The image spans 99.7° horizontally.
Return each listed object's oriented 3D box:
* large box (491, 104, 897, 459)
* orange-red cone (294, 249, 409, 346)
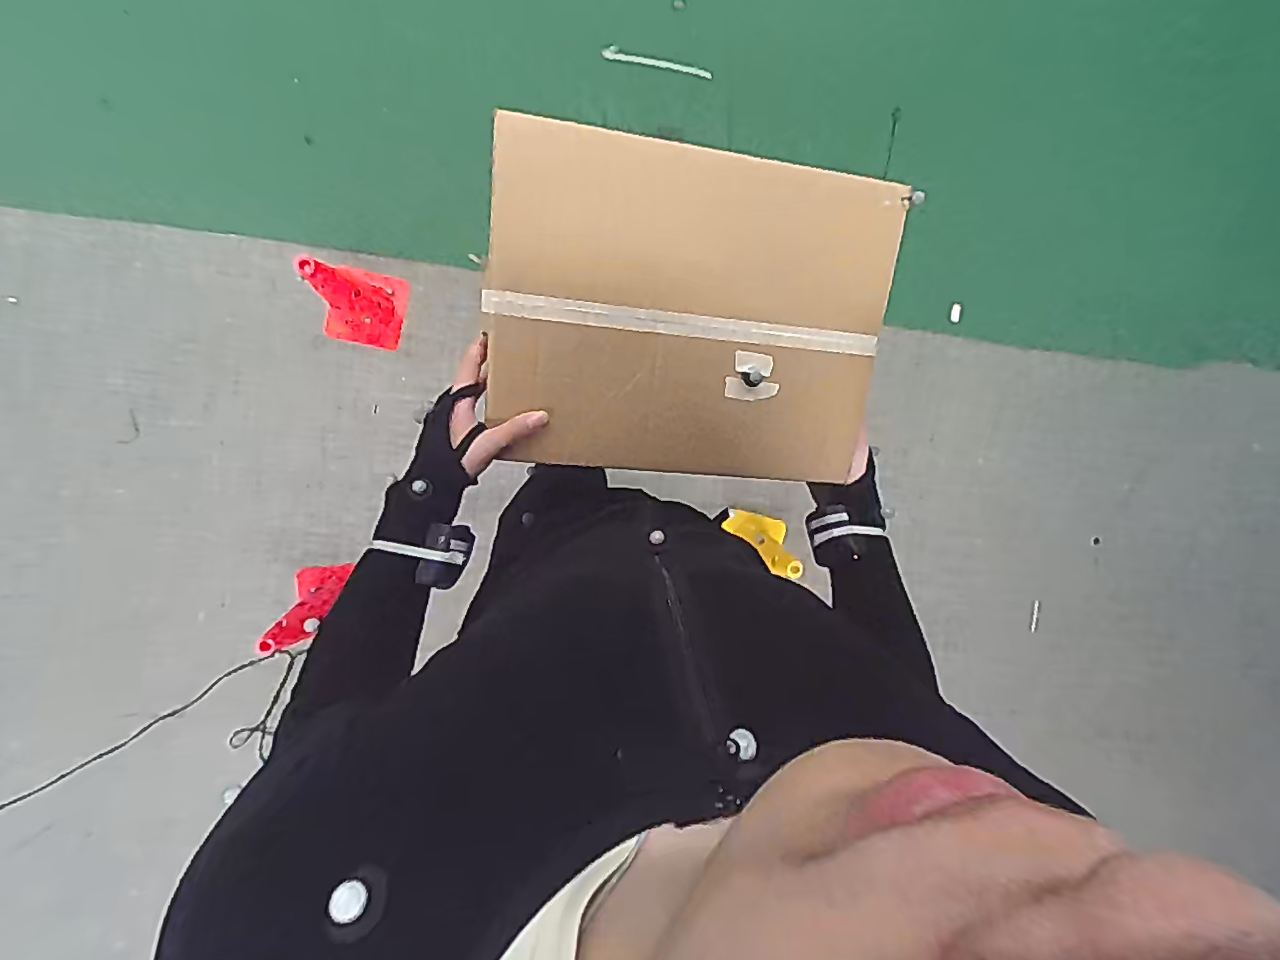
[{"bbox_3d":[0.027,-0.220,0.690,0.408,0.320,0.320,3,107,-11],"label":"large box"},{"bbox_3d":[-0.736,-0.477,1.320,0.199,0.360,0.198,13,91,-6],"label":"orange-red cone"}]
